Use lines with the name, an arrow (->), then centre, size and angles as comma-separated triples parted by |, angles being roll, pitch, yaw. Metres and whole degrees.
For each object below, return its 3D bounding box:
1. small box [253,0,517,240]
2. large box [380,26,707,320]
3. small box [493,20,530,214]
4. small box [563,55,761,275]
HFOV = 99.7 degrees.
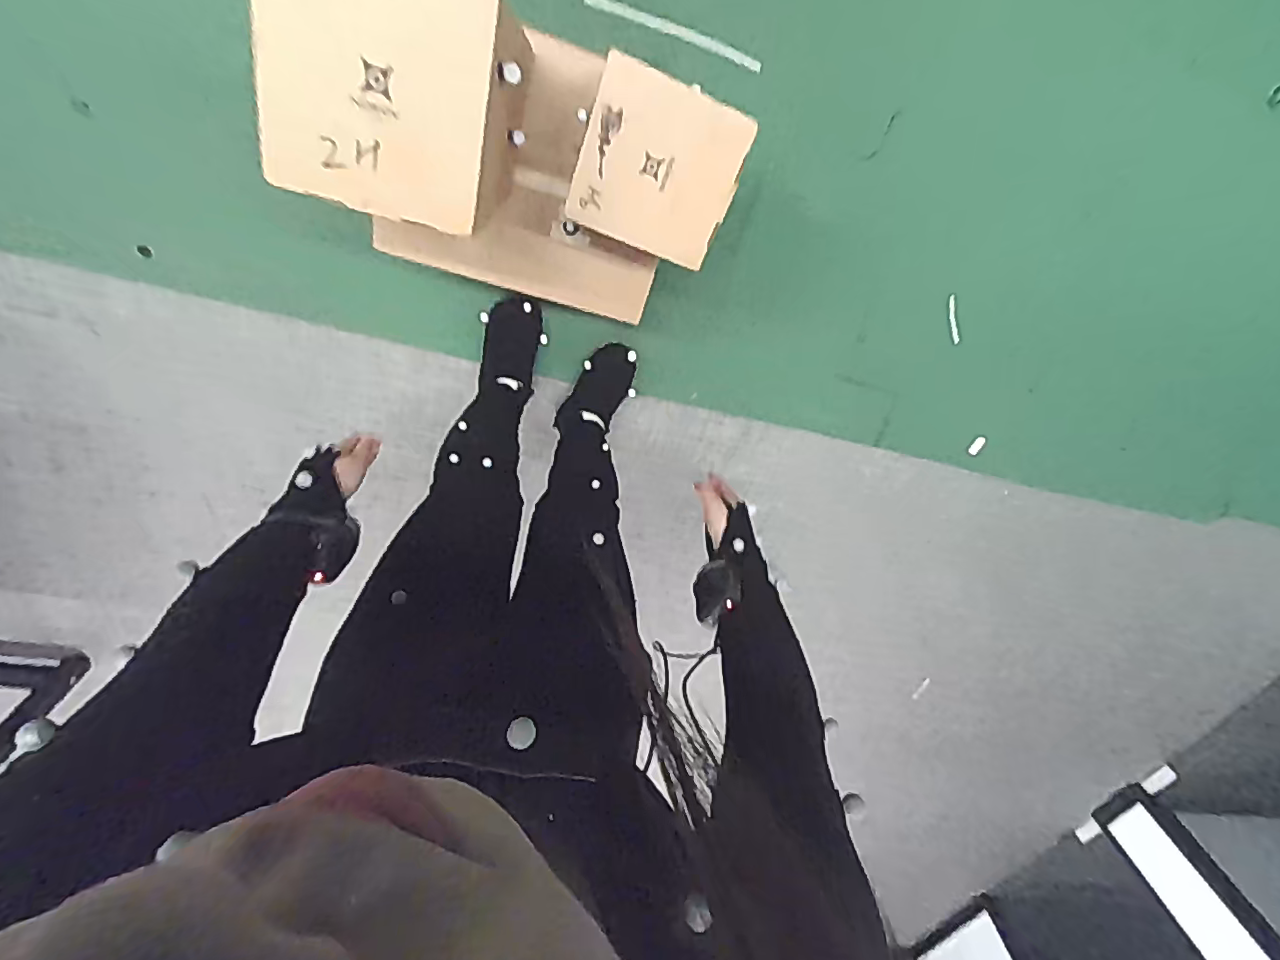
small box -> -0.207, -0.337, 0.475 | 0.168, 0.176, 0.179 | 11, 121, -12
large box -> -0.157, -0.492, 0.865 | 0.408, 0.320, 0.320 | 12, 121, -13
small box -> -0.223, -0.427, 0.612 | 0.168, 0.176, 0.179 | 12, 120, -14
small box -> 0.016, -0.378, 0.663 | 0.179, 0.176, 0.168 | 17, 118, -15
